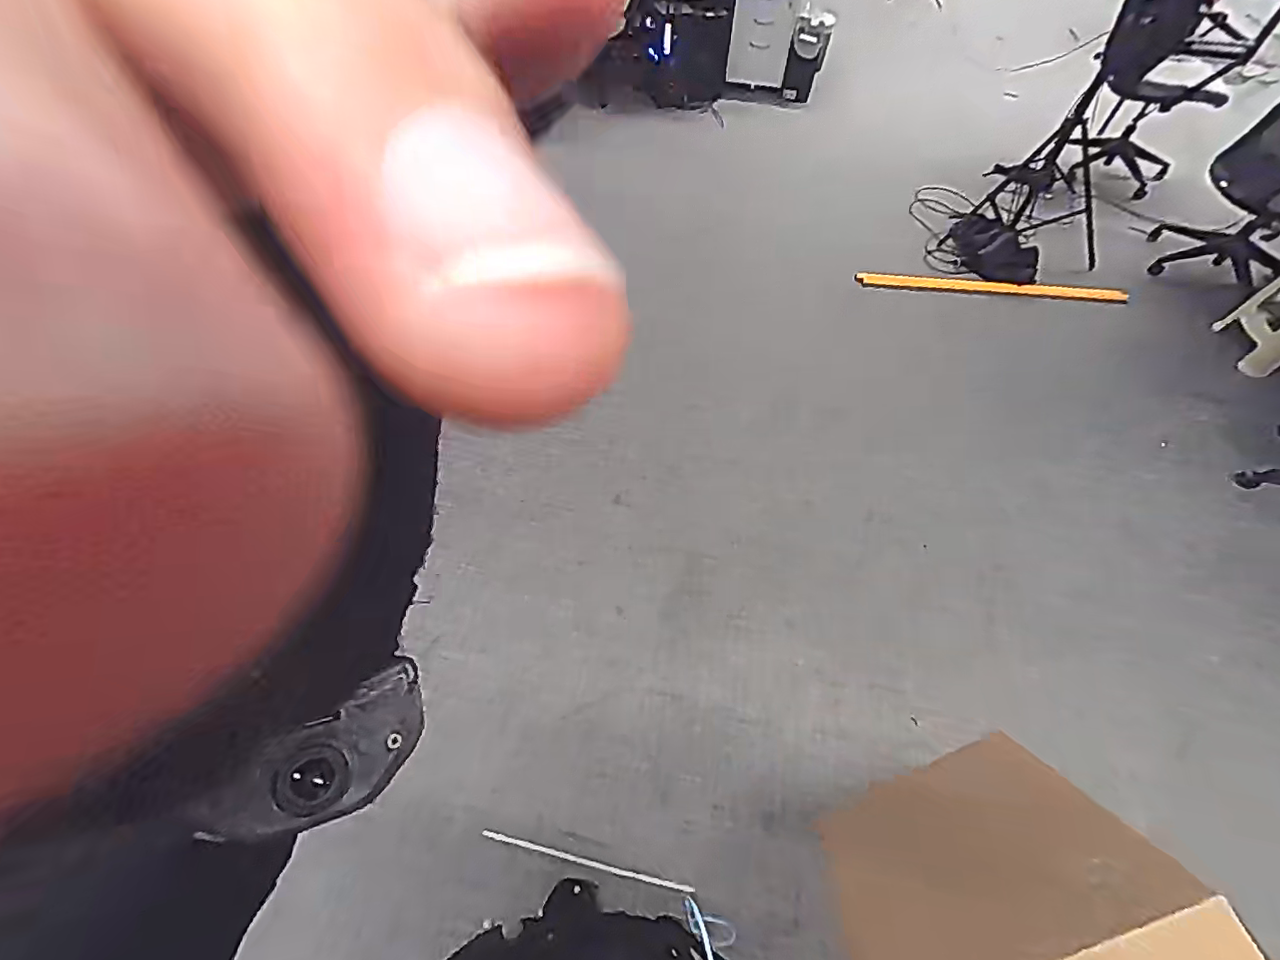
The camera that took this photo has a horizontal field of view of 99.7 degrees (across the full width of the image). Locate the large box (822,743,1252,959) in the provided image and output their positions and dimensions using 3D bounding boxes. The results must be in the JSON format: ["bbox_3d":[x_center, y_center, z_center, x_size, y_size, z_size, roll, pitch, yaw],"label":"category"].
[{"bbox_3d":[0.430,0.565,0.600,0.320,0.408,0.320,-29,77,9],"label":"large box"}]
